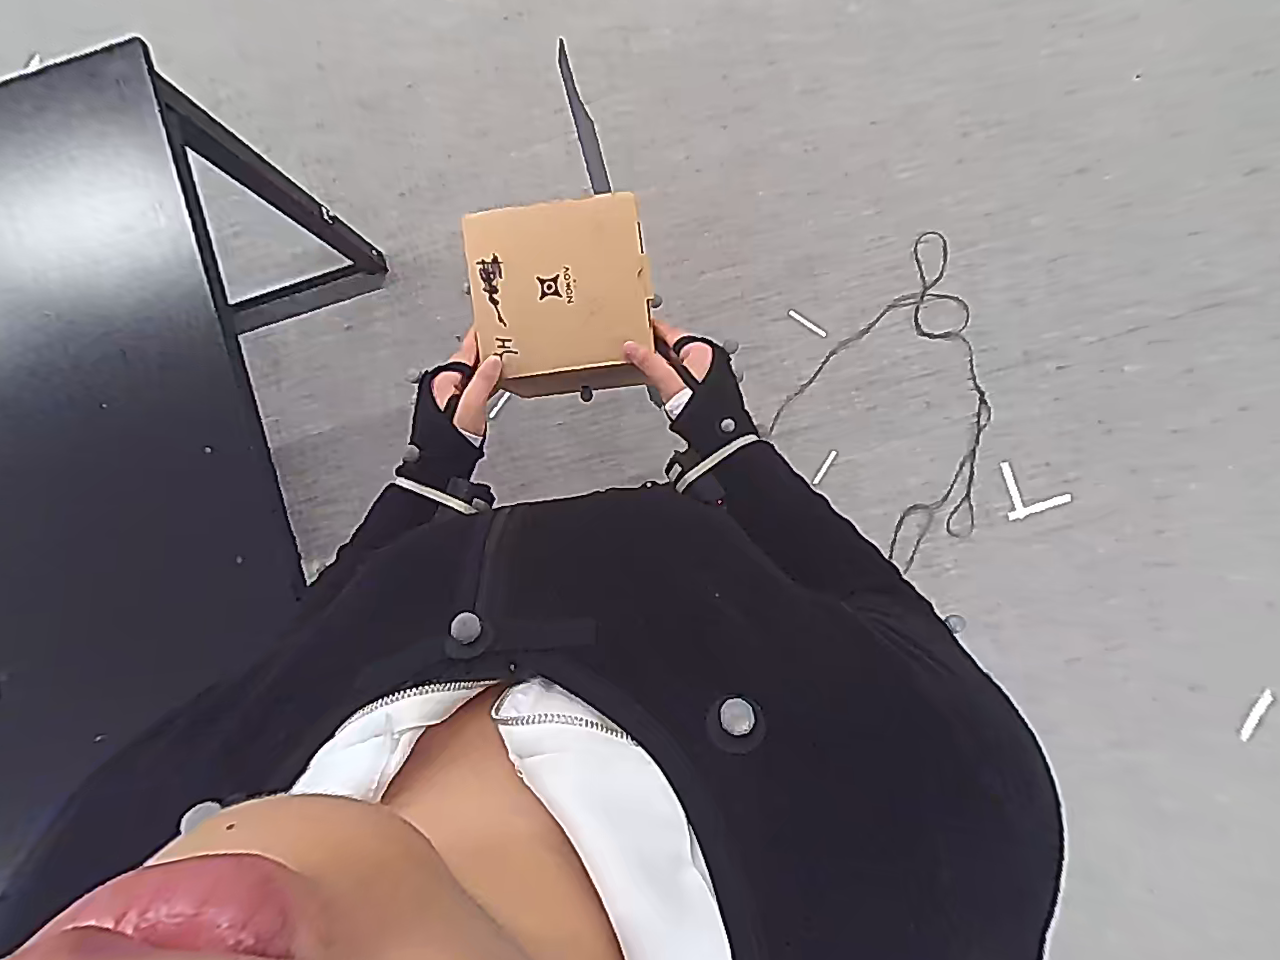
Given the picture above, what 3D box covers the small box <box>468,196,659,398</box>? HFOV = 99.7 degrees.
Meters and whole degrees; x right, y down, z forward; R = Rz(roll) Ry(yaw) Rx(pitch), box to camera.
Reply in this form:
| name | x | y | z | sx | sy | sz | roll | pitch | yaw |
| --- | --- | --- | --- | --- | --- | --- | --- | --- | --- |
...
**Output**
| name | x | y | z | sx | sy | sz | roll | pitch | yaw |
| --- | --- | --- | --- | --- | --- | --- | --- | --- | --- |
| small box | -0.076 | -0.191 | 0.610 | 0.179 | 0.176 | 0.168 | -6 | 91 | 0 |
